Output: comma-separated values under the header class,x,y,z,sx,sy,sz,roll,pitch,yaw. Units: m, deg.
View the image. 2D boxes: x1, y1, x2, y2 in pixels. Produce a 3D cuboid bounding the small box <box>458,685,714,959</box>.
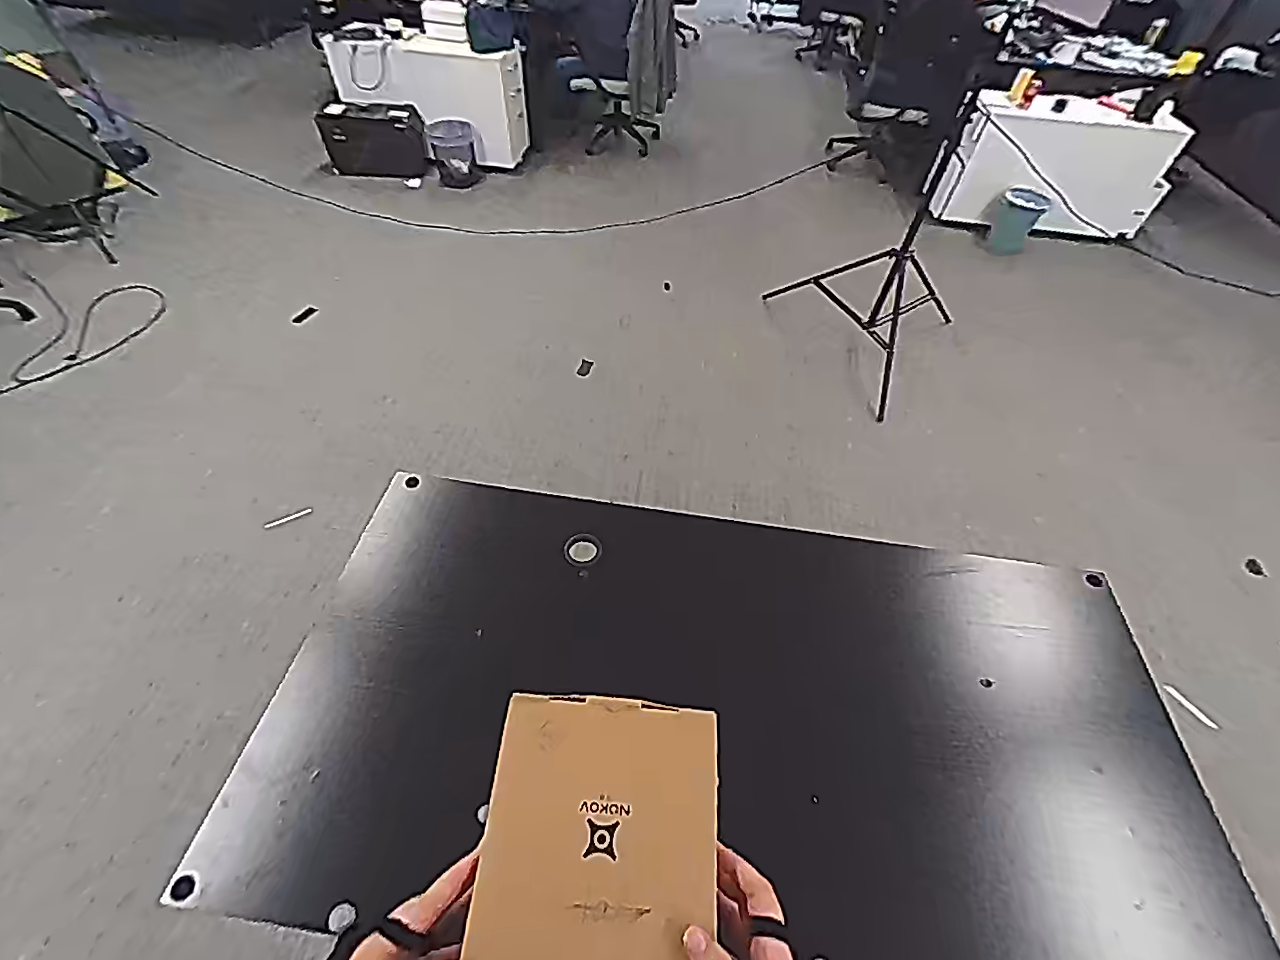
class,x,y,z,sx,sy,sz,roll,pitch,yaw
small box,-0.034,0.287,0.453,0.168,0.176,0.179,5,58,-1
